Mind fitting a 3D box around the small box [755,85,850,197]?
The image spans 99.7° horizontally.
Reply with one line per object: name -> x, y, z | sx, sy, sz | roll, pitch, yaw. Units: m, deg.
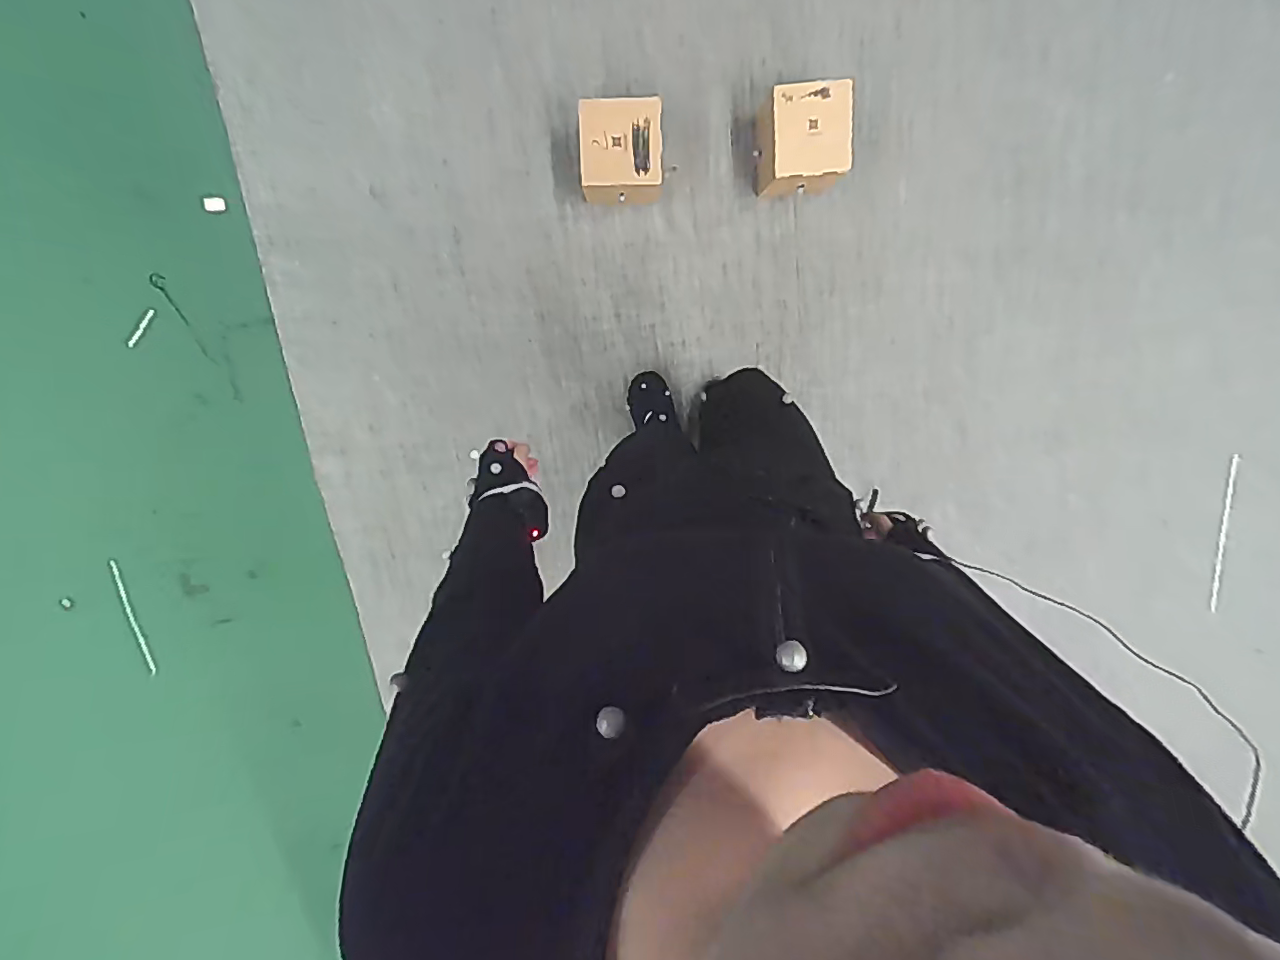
small box -> 0.359, -0.752, 1.219 | 0.168, 0.176, 0.179 | -4, 105, 0
